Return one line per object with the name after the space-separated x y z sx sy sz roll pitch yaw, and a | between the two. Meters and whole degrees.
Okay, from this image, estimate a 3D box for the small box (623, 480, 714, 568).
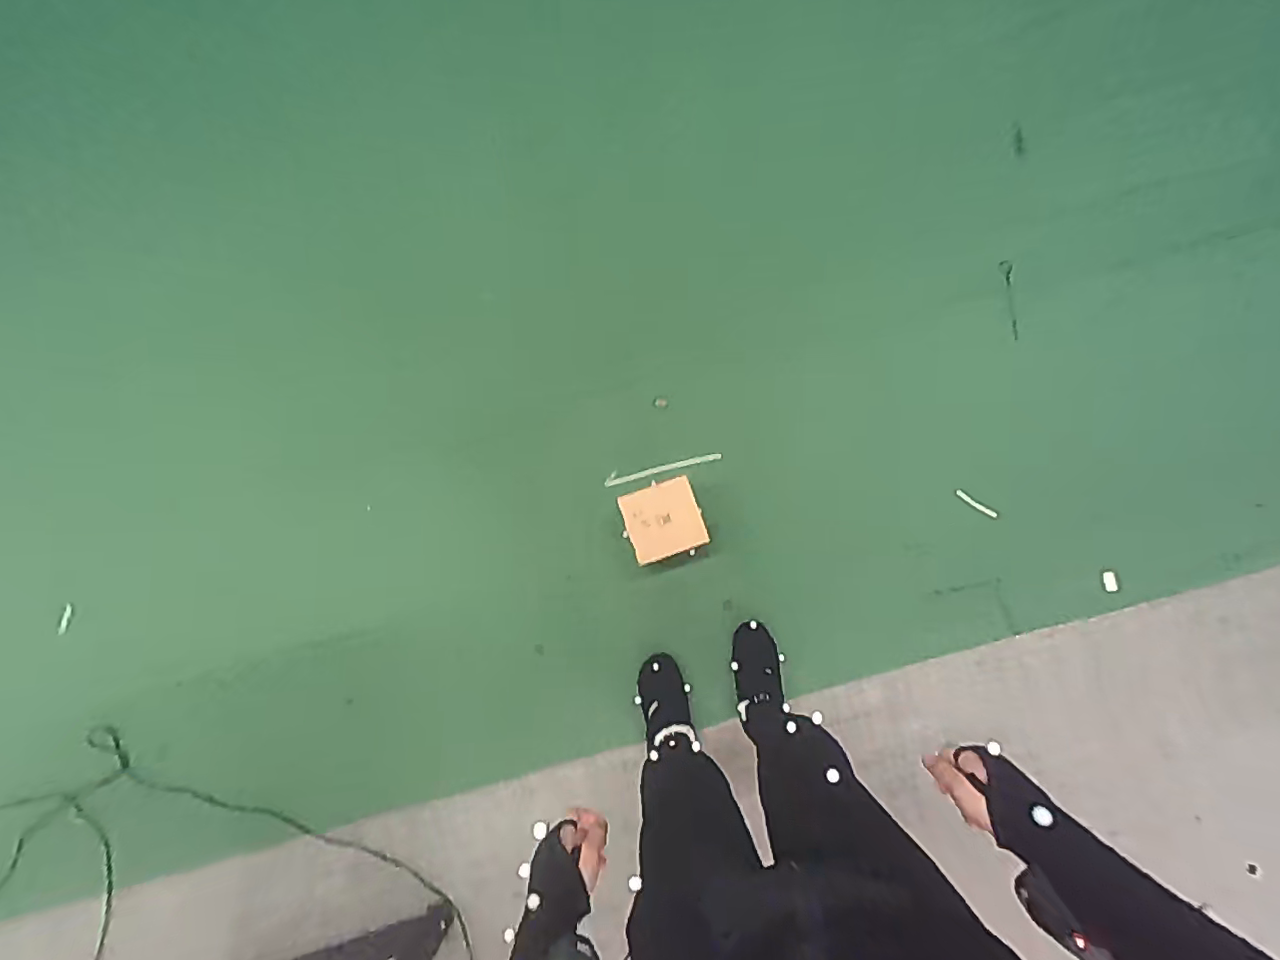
0.065 0.109 1.333 0.179 0.176 0.168 -19 82 -1 | small box
